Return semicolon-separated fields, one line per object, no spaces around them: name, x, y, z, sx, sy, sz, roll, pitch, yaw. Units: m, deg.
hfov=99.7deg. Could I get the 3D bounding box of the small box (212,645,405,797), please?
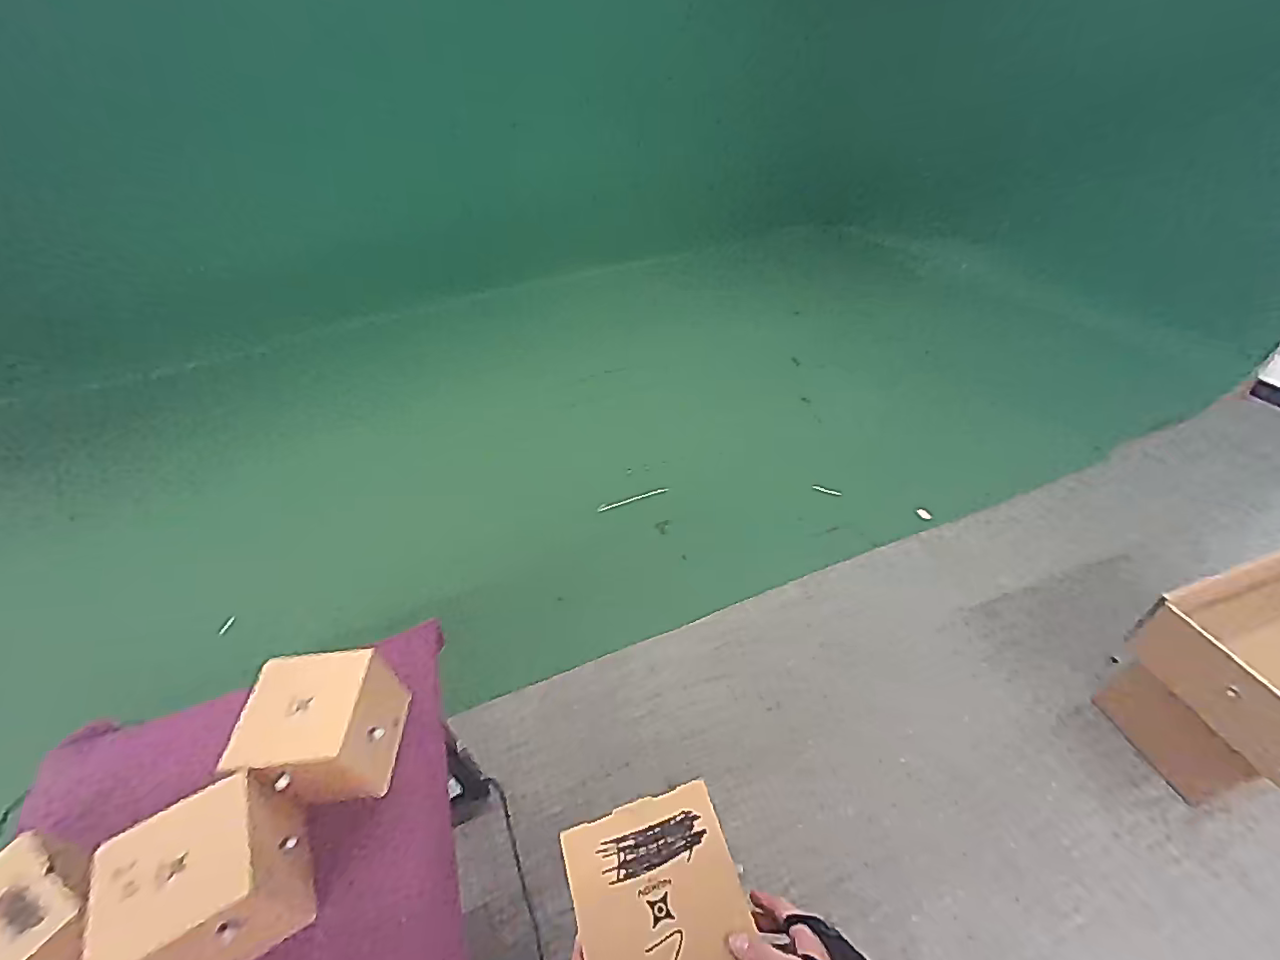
small box;-0.500;0.382;0.853;0.179;0.176;0.168;-7;44;2
